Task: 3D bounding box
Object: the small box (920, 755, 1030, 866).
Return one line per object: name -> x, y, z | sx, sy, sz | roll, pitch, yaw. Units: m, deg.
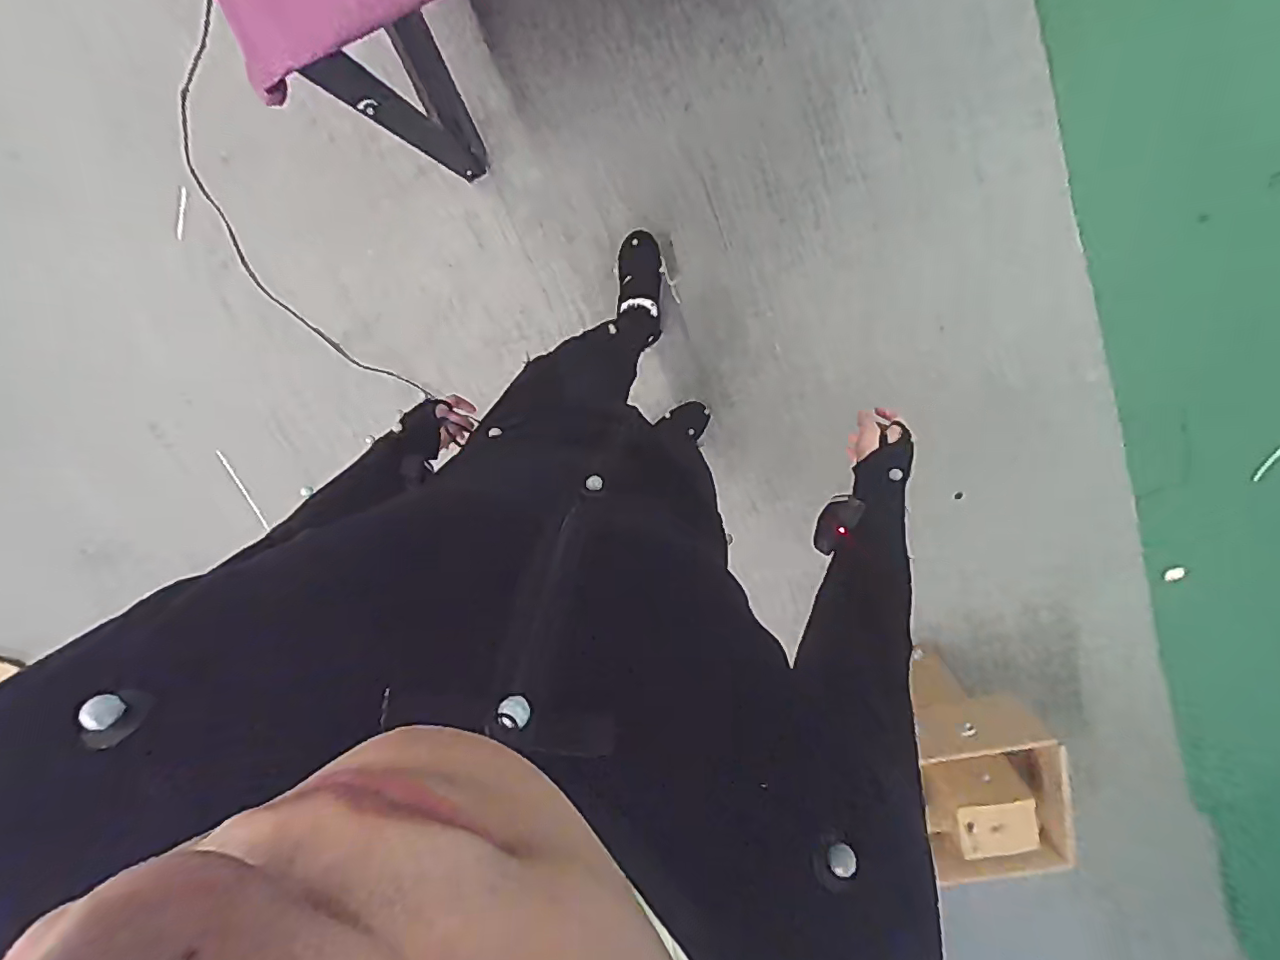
small box -> 0.845, 0.829, 1.372 | 0.179, 0.176, 0.168 | -14, 105, 7
